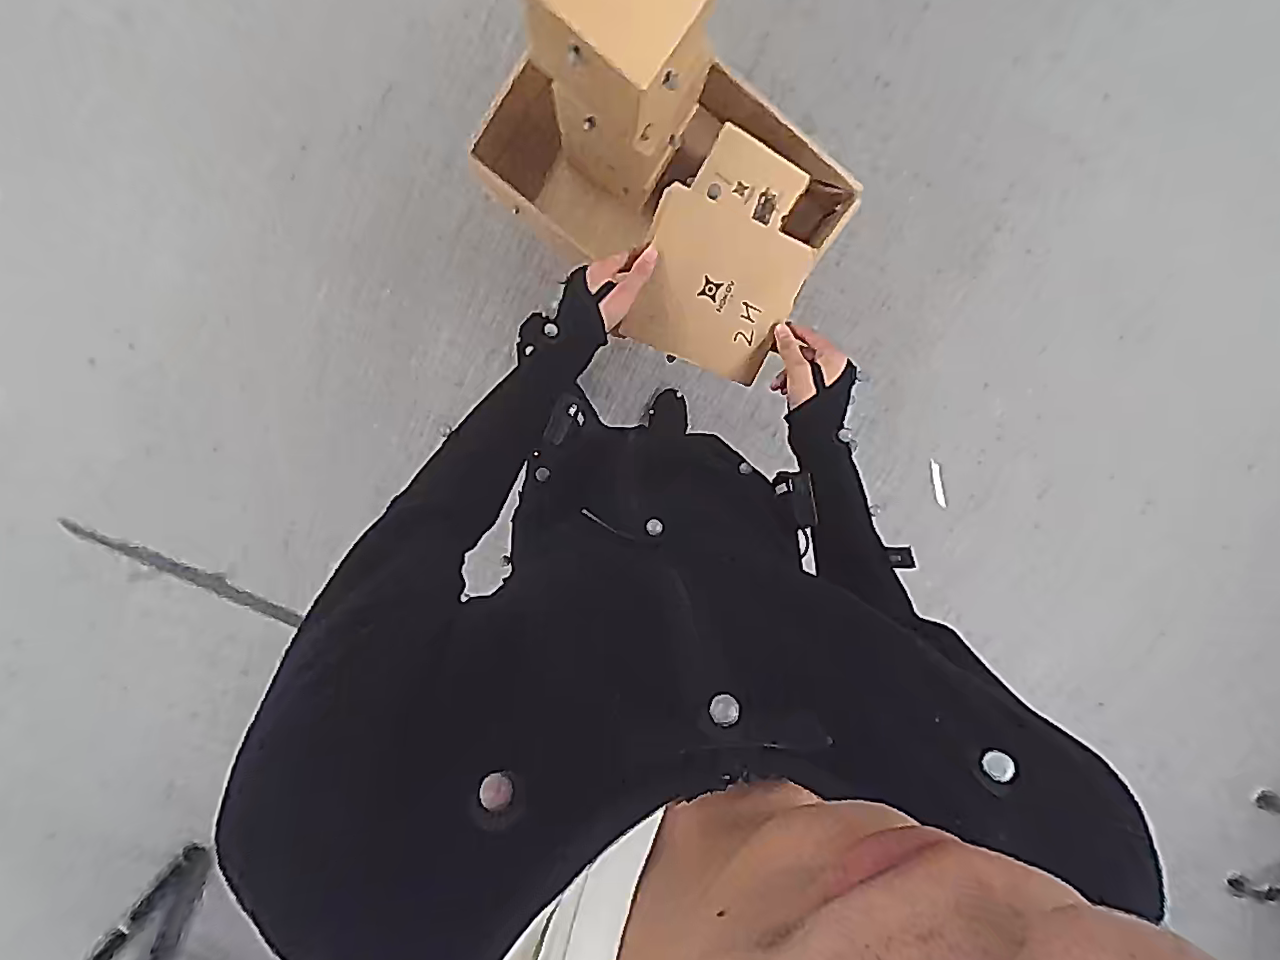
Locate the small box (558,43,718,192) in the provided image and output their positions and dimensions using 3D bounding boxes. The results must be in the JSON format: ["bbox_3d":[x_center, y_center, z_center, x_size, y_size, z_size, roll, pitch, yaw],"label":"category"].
[{"bbox_3d":[-0.011,-0.588,0.831,0.168,0.176,0.179,33,97,-10],"label":"small box"}]

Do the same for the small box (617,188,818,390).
[{"bbox_3d":[0.081,-0.237,0.672,0.179,0.176,0.168,20,114,-11],"label":"small box"}]

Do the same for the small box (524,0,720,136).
[{"bbox_3d":[-0.018,-0.568,0.668,0.179,0.176,0.168,36,97,-11],"label":"small box"}]
